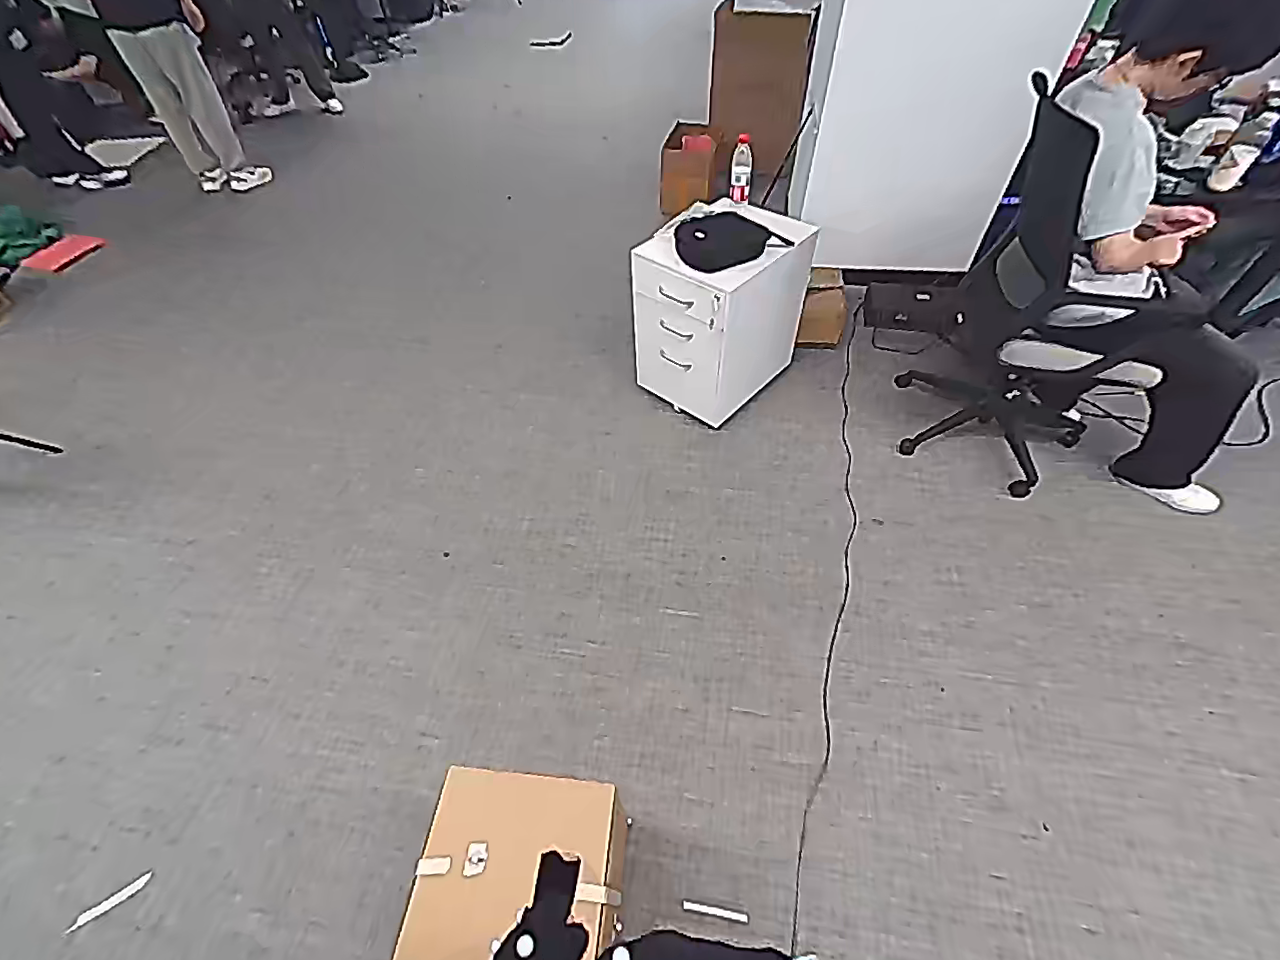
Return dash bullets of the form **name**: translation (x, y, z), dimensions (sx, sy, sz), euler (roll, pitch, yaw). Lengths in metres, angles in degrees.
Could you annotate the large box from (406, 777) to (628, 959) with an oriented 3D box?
- **large box**: translation (-0.200, 0.781, 1.034), dimensions (0.320, 0.408, 0.320), euler (5, 52, 5)
